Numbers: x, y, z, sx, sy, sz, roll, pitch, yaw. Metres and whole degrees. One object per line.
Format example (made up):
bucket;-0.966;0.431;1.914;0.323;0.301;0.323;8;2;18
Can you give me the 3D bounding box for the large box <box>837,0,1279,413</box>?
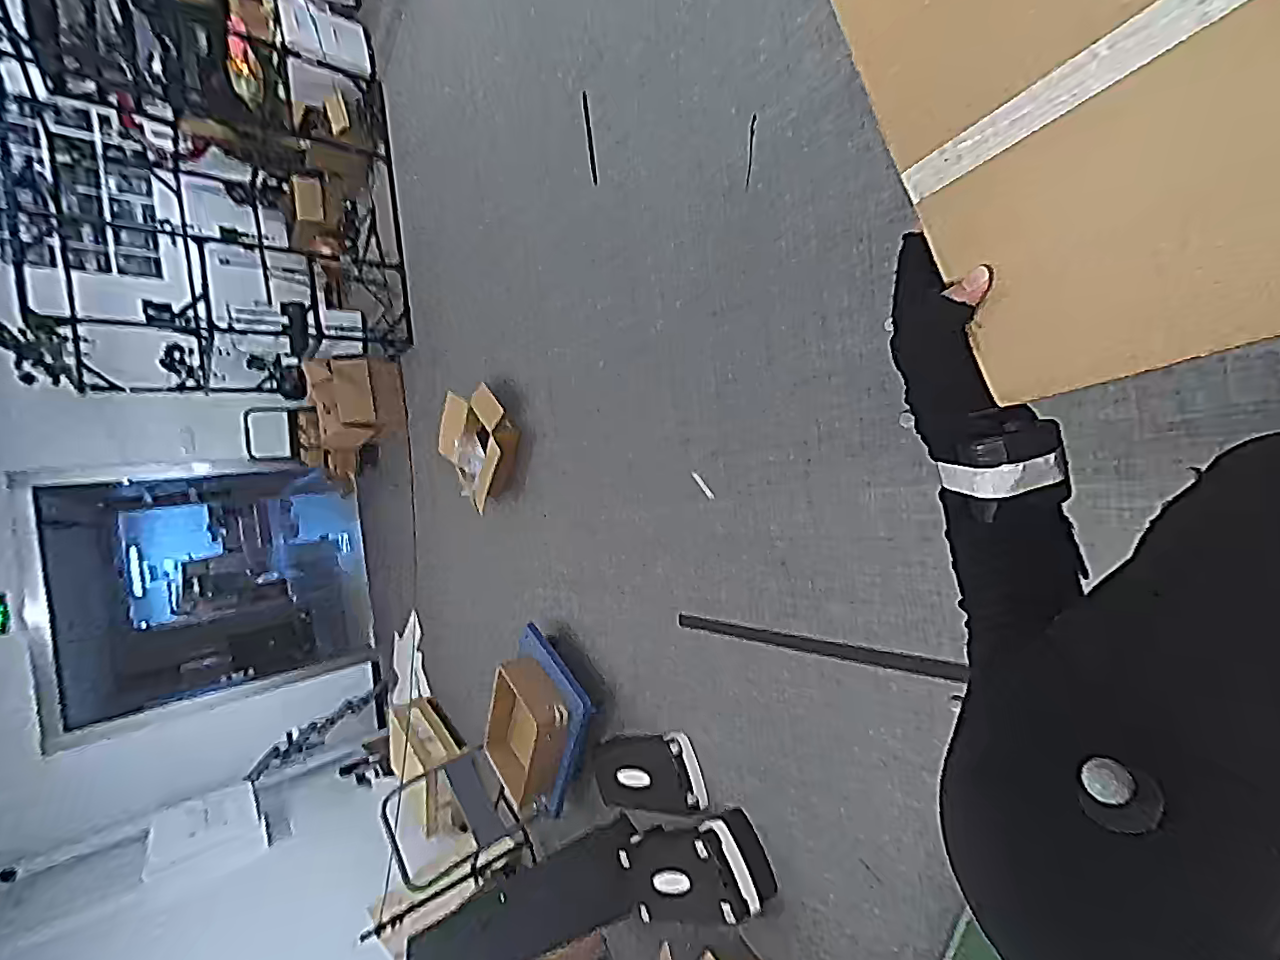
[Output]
large box;0.402;-0.278;0.282;0.408;0.320;0.320;-18;98;54
